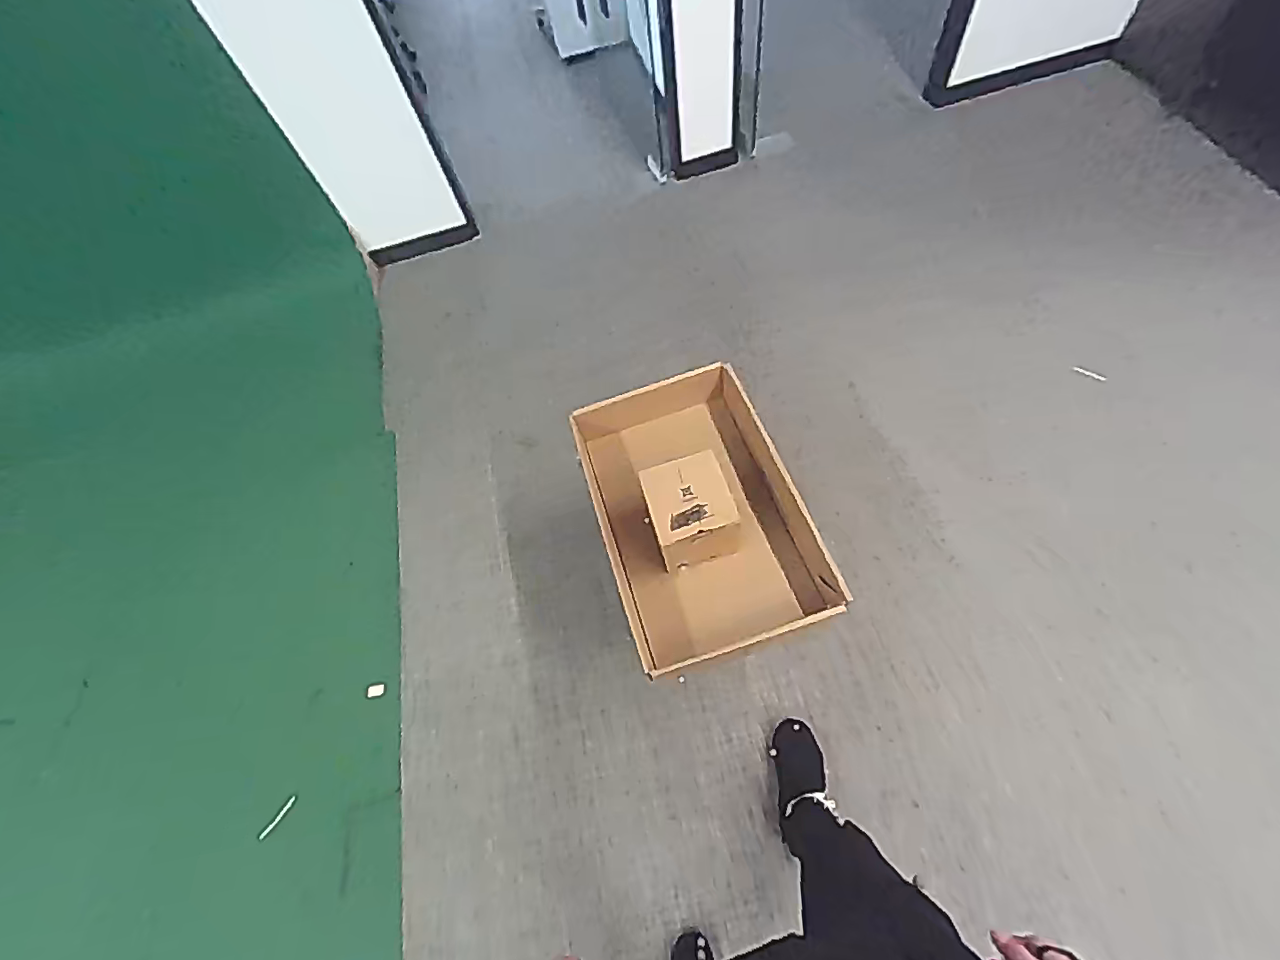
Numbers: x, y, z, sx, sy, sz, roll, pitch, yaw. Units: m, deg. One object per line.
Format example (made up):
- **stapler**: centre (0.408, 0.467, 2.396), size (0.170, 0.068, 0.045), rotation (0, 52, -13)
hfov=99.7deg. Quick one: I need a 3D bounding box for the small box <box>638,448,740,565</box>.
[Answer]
- **small box**: centre (0.106, 0.065, 1.141), size (0.168, 0.176, 0.179), rotation (-17, 61, -1)
